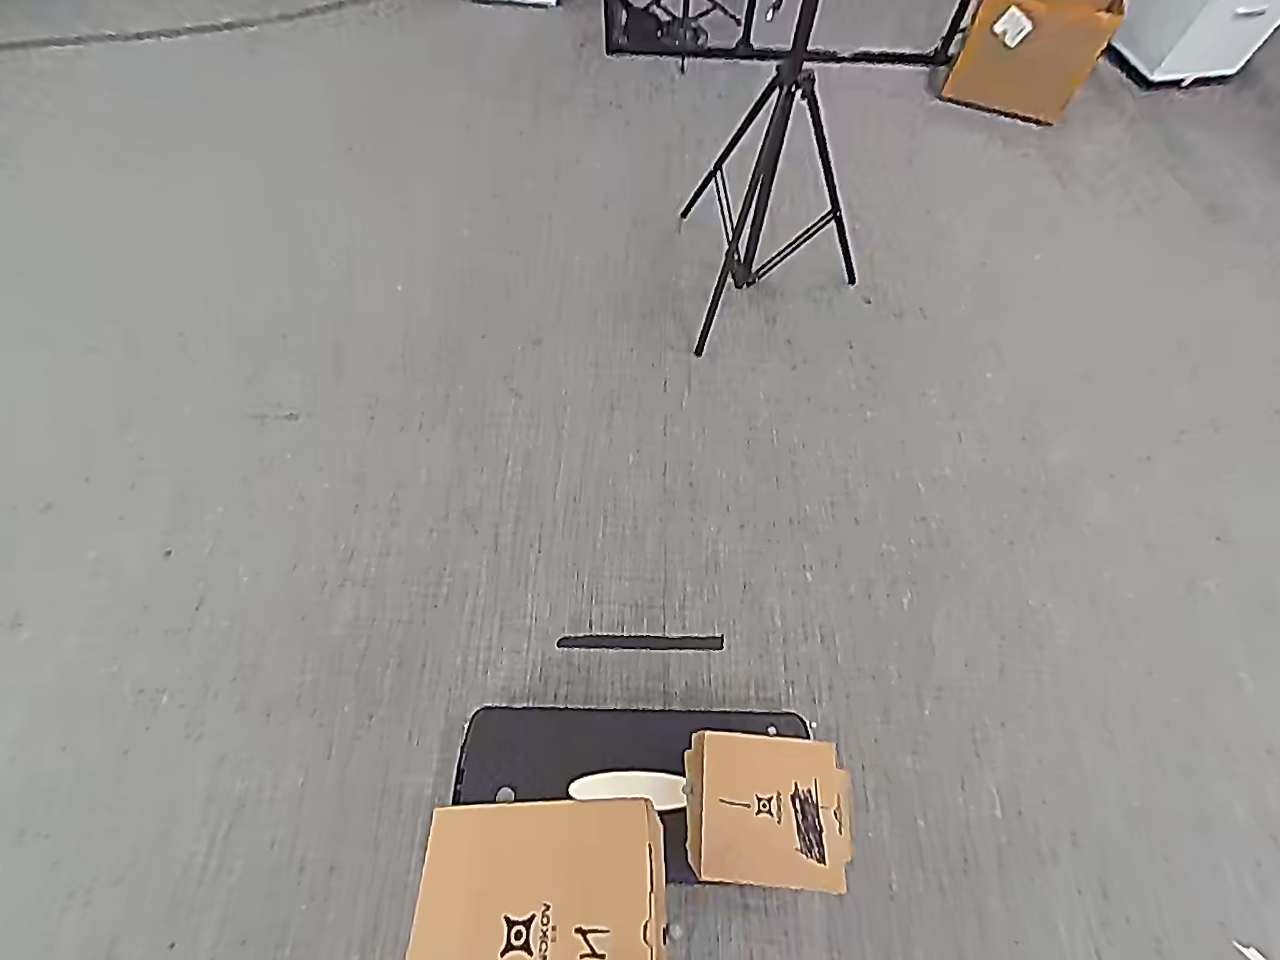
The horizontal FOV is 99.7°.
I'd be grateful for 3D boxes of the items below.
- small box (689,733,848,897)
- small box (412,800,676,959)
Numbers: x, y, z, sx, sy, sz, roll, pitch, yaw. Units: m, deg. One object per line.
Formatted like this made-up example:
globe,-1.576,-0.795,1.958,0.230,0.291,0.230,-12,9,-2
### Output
small box,0.167,0.451,0.749,0.179,0.176,0.168,4,62,2
small box,-0.063,0.367,0.432,0.179,0.176,0.168,-5,51,3
